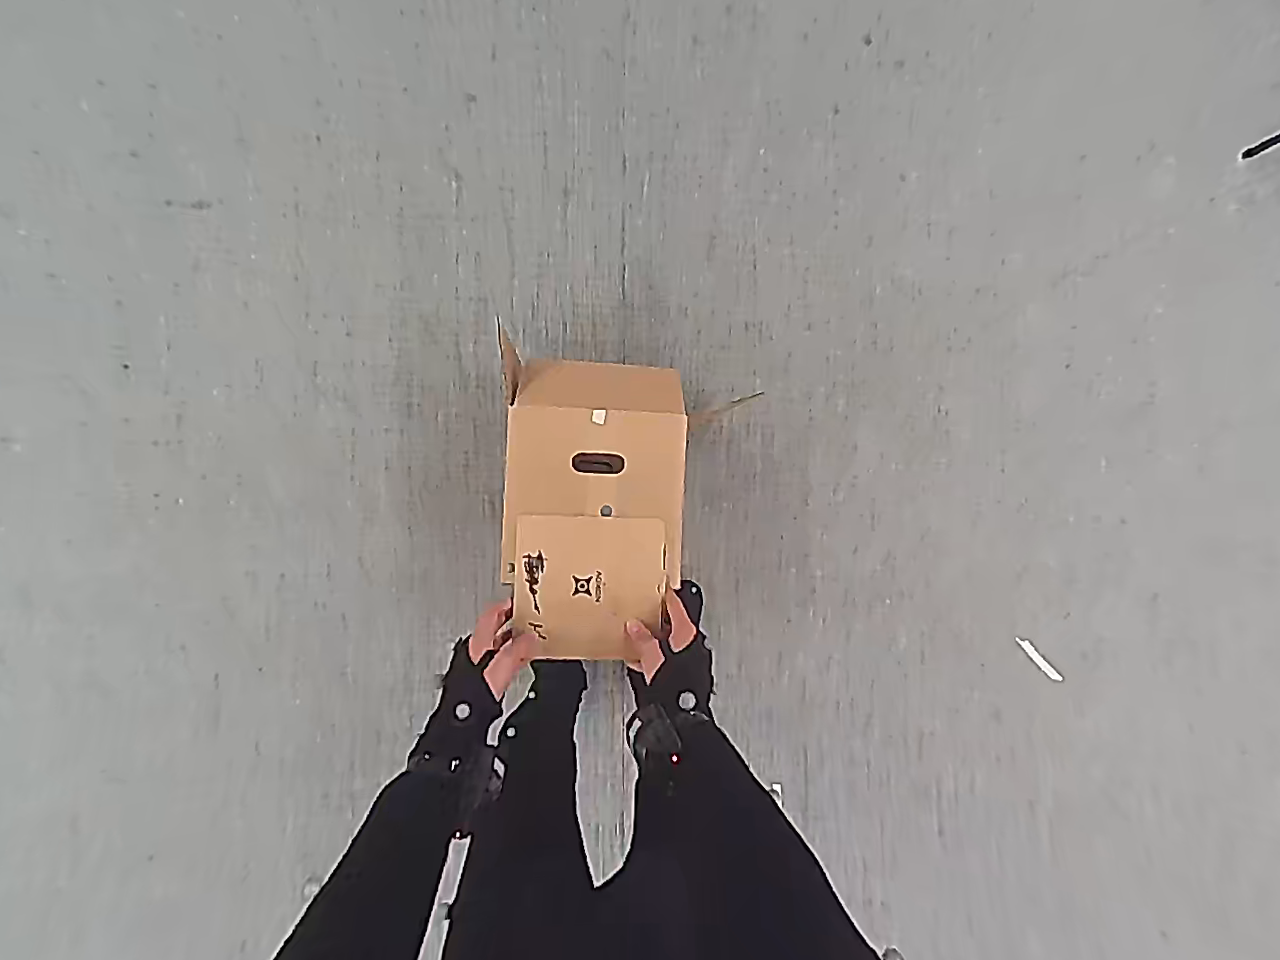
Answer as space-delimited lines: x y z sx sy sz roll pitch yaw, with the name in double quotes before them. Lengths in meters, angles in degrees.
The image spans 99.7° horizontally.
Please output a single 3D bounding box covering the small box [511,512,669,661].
"small box" -0.063 0.128 0.702 0.179 0.176 0.168 3 87 -4
